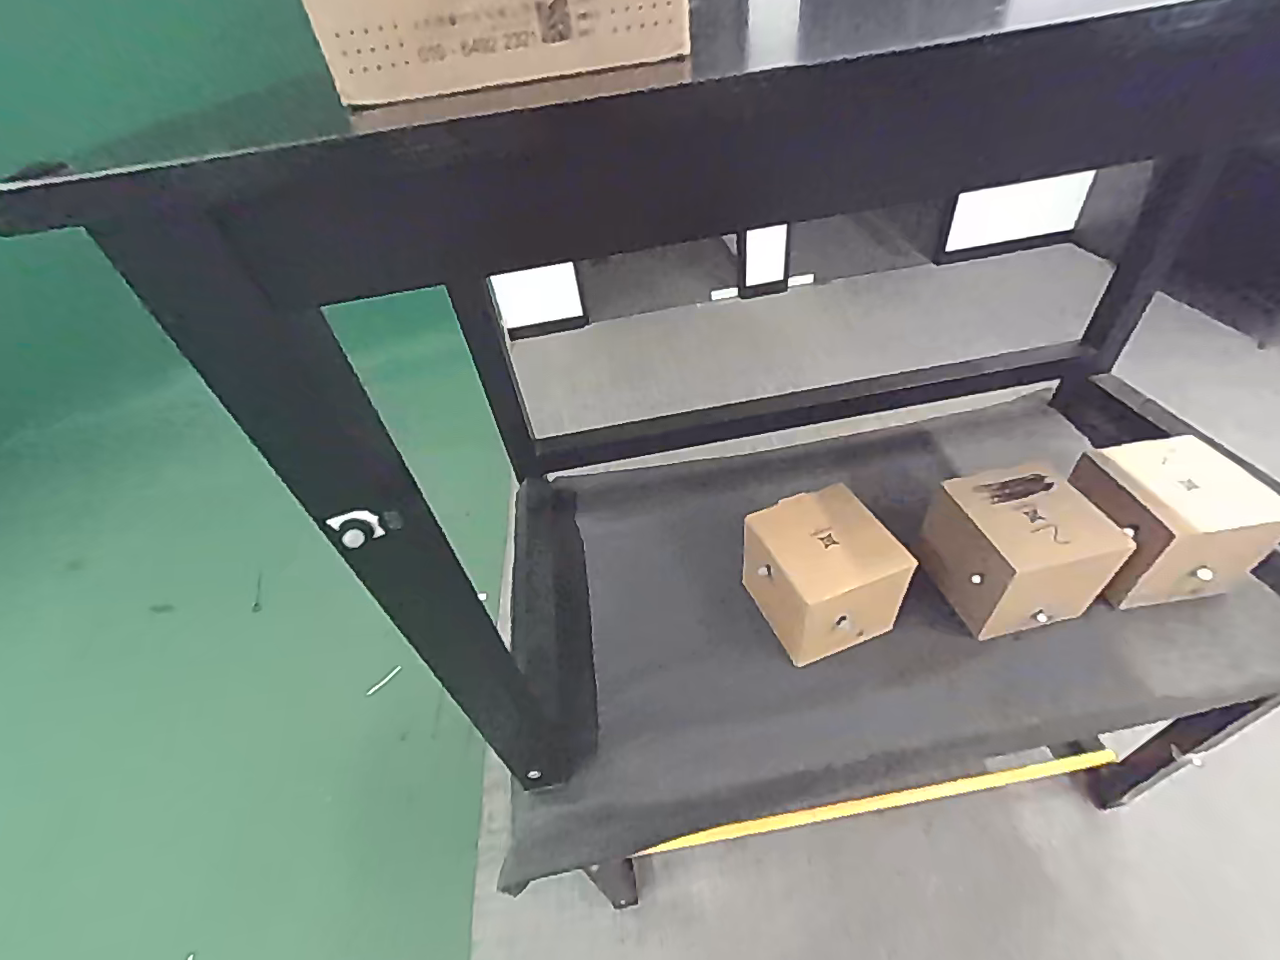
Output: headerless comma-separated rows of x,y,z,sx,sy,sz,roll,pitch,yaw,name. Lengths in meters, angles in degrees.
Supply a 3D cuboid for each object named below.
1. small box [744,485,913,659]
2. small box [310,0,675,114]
0.269,0.143,0.812,0.168,0.176,0.179,-18,43,-9,small box
-0.080,-0.299,0.267,0.168,0.176,0.179,-10,43,-1,small box
